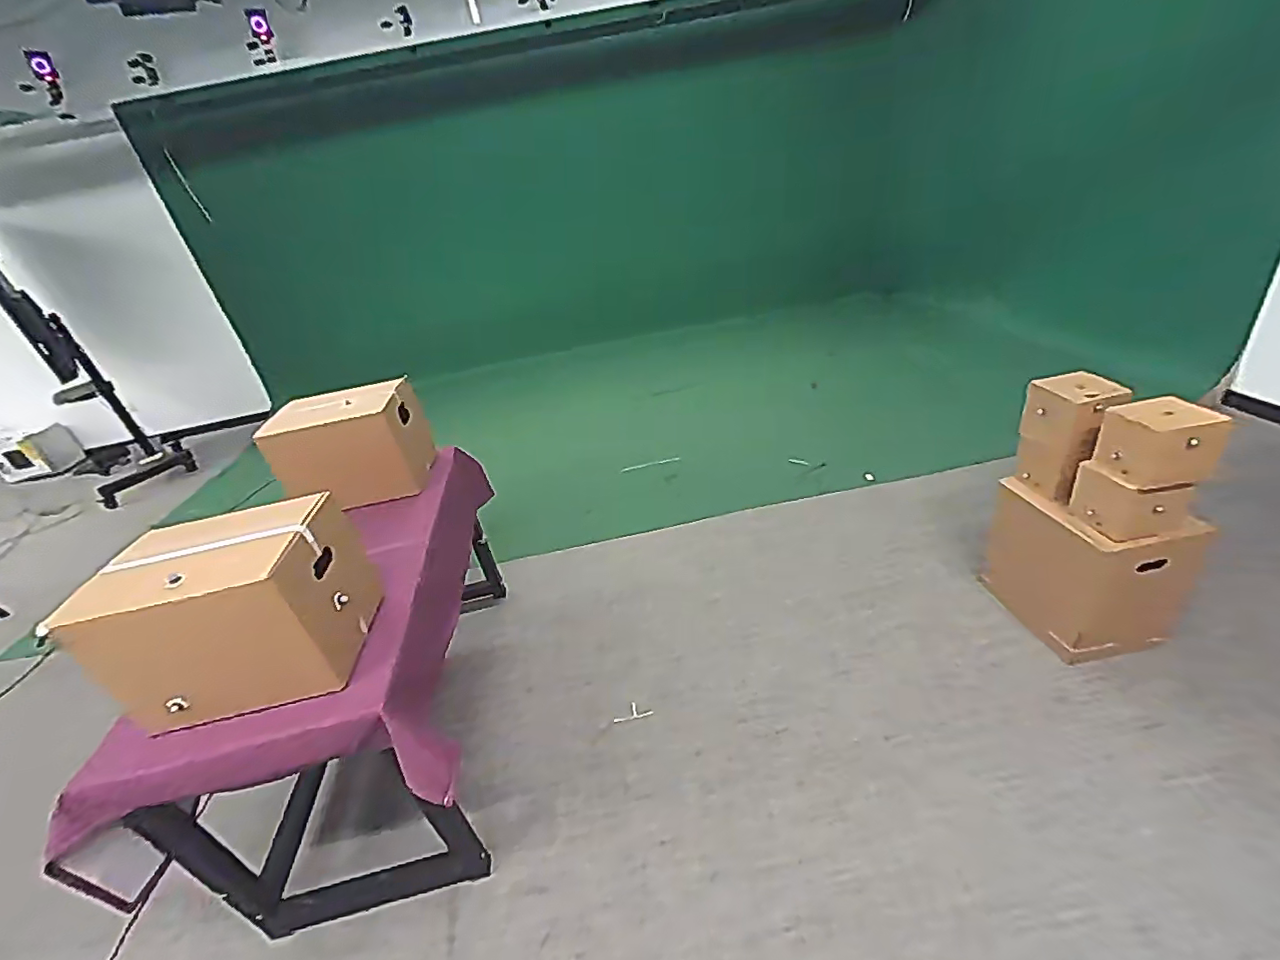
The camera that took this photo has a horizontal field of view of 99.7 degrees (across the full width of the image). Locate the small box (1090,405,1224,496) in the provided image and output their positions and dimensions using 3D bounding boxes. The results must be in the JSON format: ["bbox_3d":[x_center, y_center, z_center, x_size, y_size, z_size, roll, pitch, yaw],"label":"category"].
[{"bbox_3d":[1.338,-0.078,1.416,0.179,0.176,0.168,-10,28,1],"label":"small box"}]

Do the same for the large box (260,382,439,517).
[{"bbox_3d":[-0.963,-0.110,1.851,0.408,0.320,0.320,-11,30,-2],"label":"large box"}]
